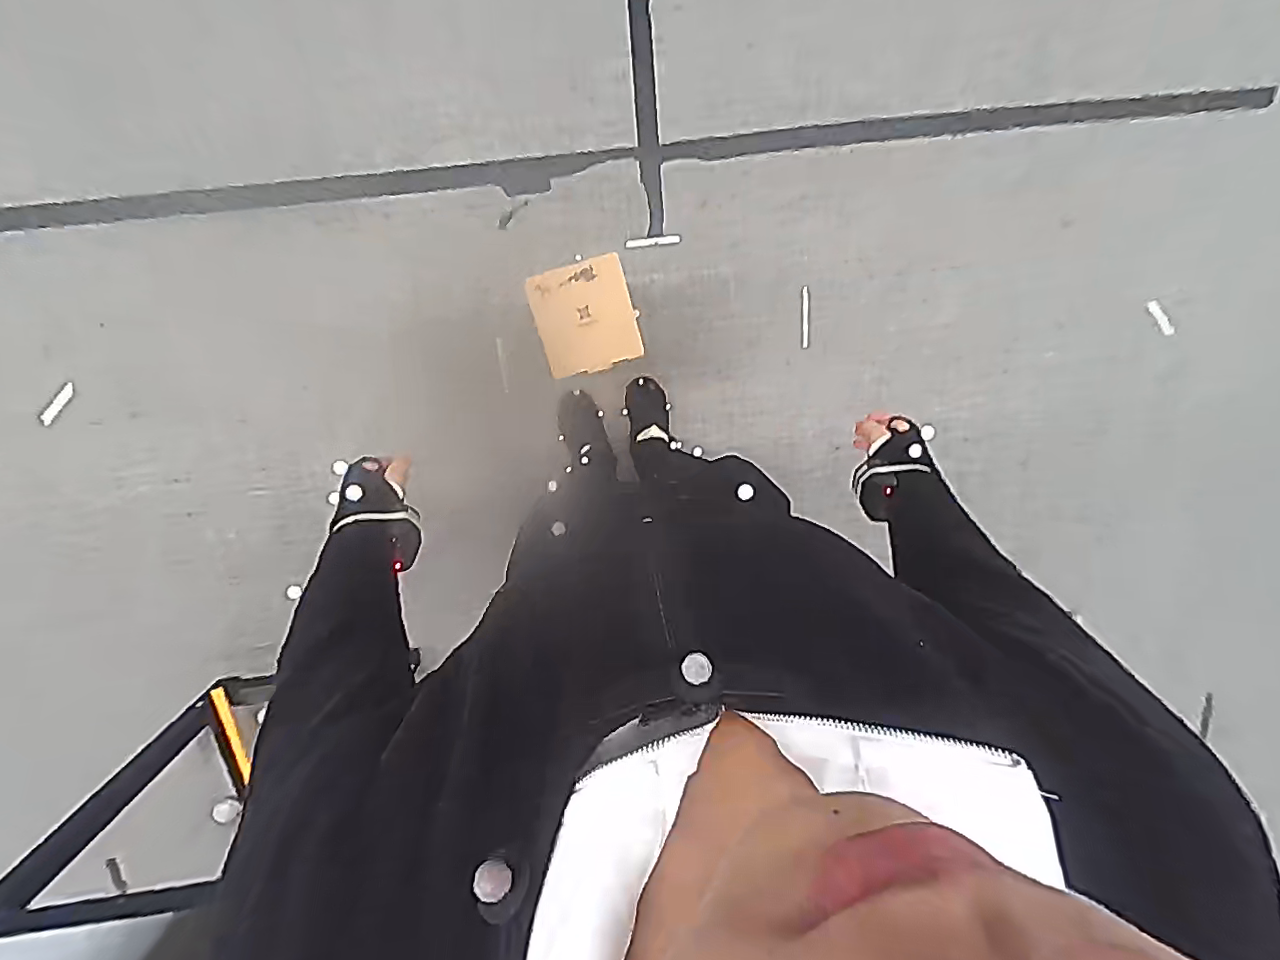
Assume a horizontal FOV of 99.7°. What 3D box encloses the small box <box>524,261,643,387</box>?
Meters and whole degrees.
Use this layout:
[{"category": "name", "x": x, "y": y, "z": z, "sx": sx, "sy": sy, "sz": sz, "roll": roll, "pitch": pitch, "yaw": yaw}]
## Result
[{"category": "small box", "x": -0.096, "y": -0.283, "z": 0.987, "sx": 0.168, "sy": 0.176, "sz": 0.179, "roll": -16, "pitch": 106, "yaw": 1}]
